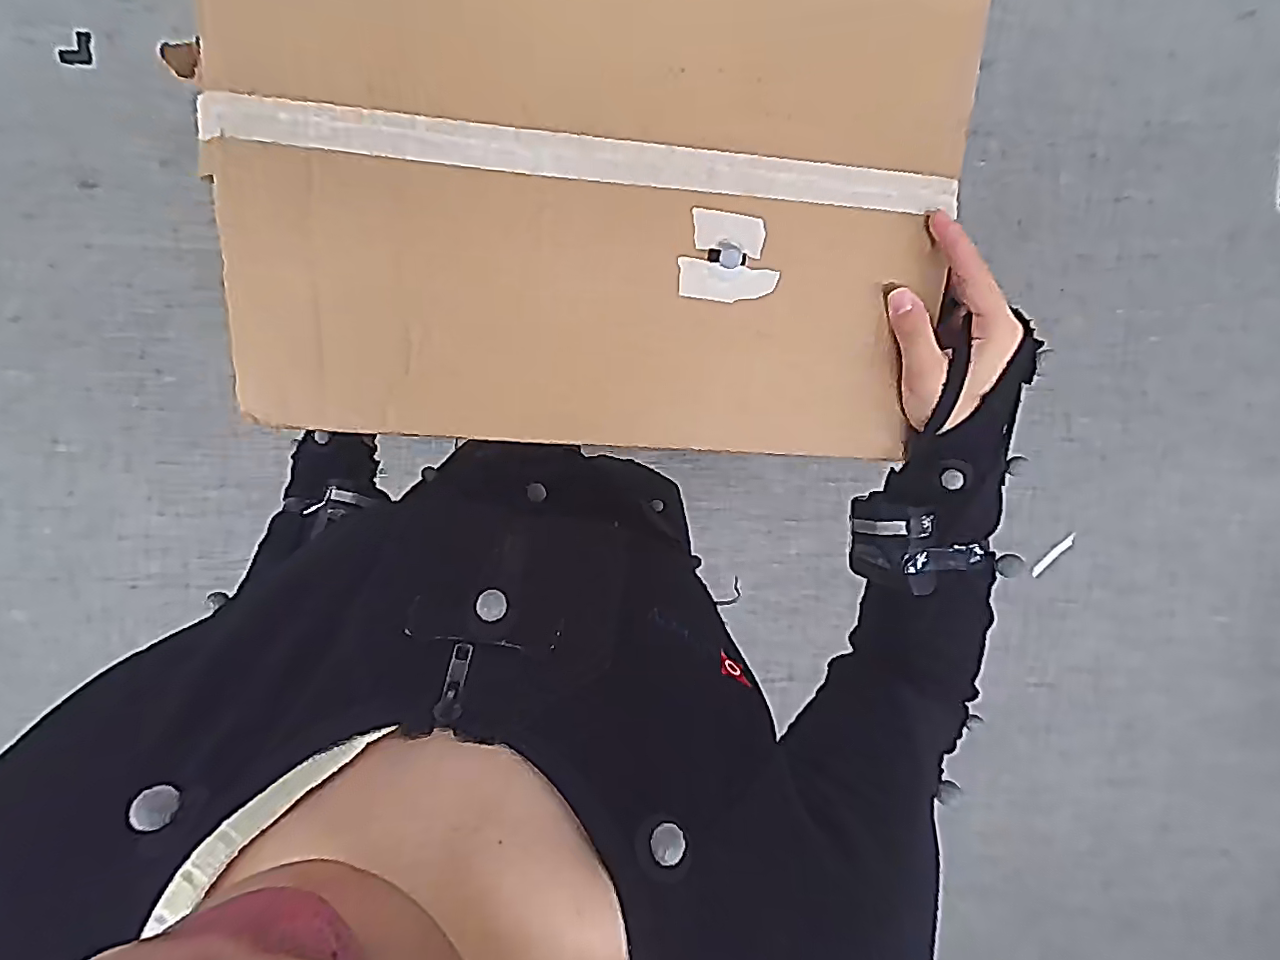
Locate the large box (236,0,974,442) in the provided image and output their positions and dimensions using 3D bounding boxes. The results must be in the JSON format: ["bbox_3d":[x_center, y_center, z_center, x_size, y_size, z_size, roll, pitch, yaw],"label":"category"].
[{"bbox_3d":[-0.030,-0.210,0.452,0.408,0.320,0.320,2,103,-8],"label":"large box"}]
